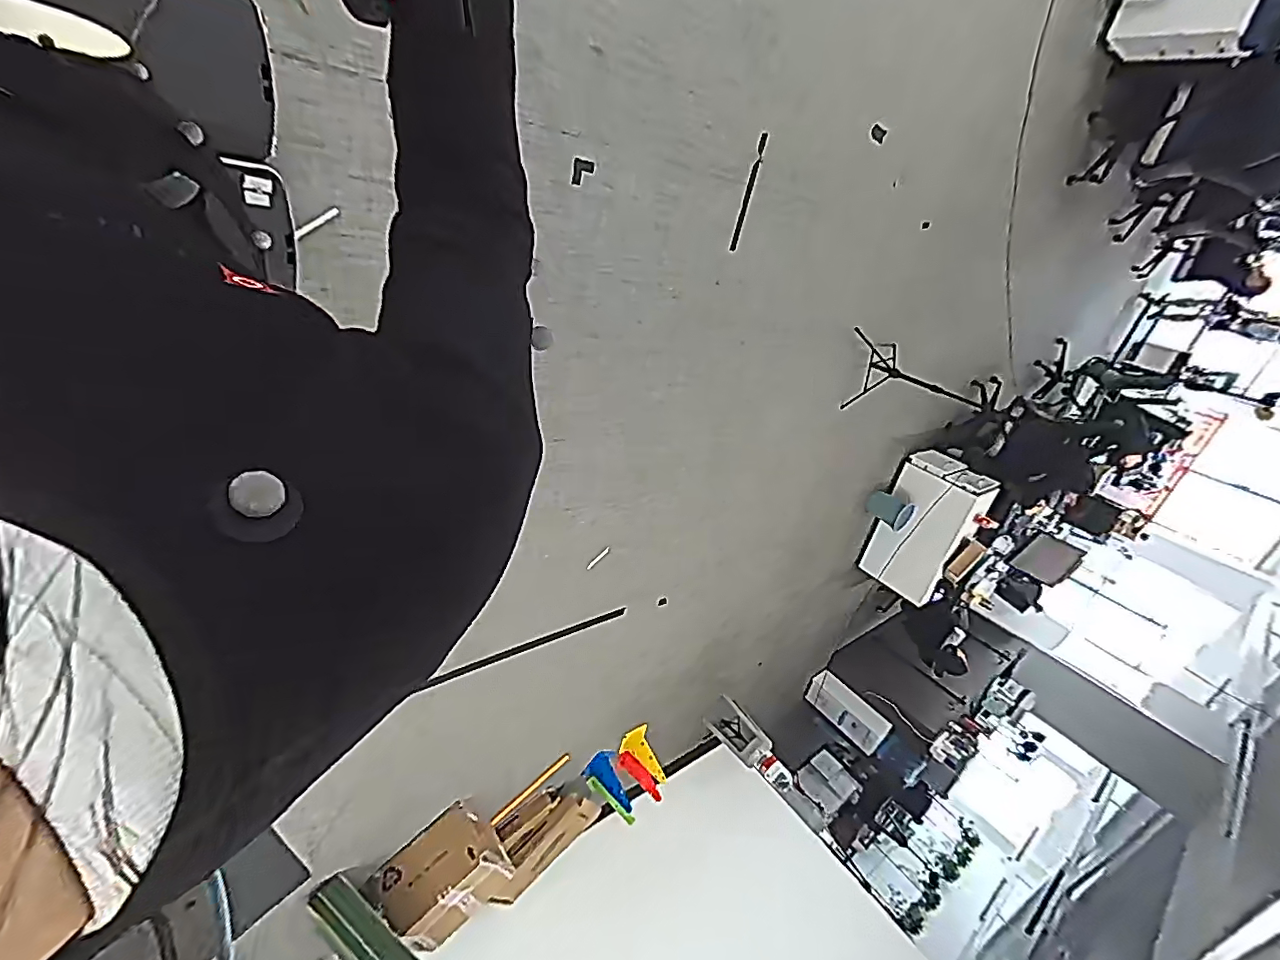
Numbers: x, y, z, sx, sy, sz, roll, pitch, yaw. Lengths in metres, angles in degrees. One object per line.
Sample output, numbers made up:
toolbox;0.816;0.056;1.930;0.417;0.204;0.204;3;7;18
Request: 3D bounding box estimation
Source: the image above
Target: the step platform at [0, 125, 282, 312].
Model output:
step platform;-1.057;-0.472;0.976;0.684;0.204;0.286;-10;124;-36
